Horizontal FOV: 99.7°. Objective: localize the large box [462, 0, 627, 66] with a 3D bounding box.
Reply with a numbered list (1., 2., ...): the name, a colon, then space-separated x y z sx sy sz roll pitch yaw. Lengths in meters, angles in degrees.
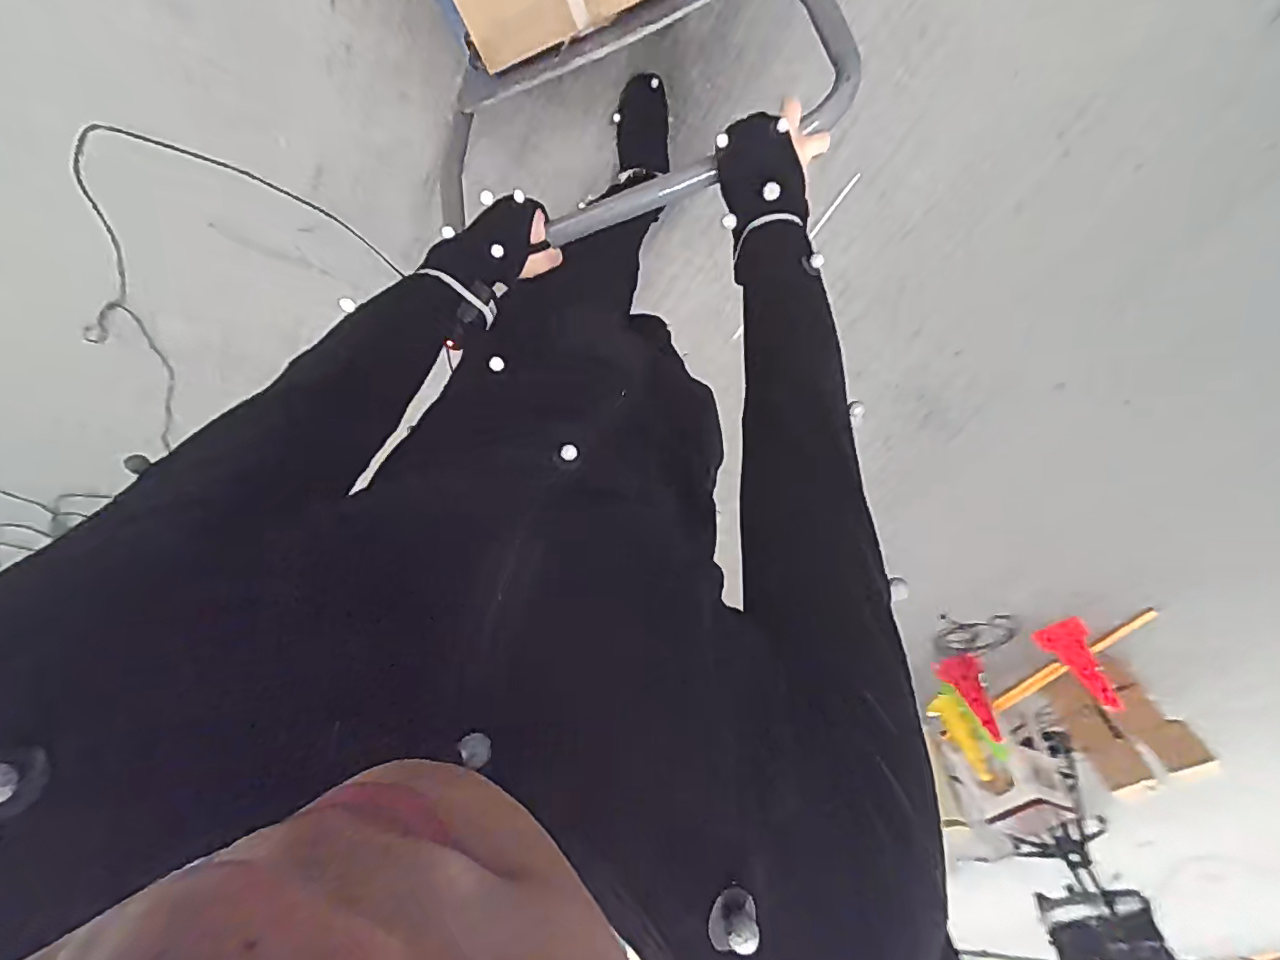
1. large box: -0.155 -0.895 0.736 0.320 0.320 0.408 -16 139 14
